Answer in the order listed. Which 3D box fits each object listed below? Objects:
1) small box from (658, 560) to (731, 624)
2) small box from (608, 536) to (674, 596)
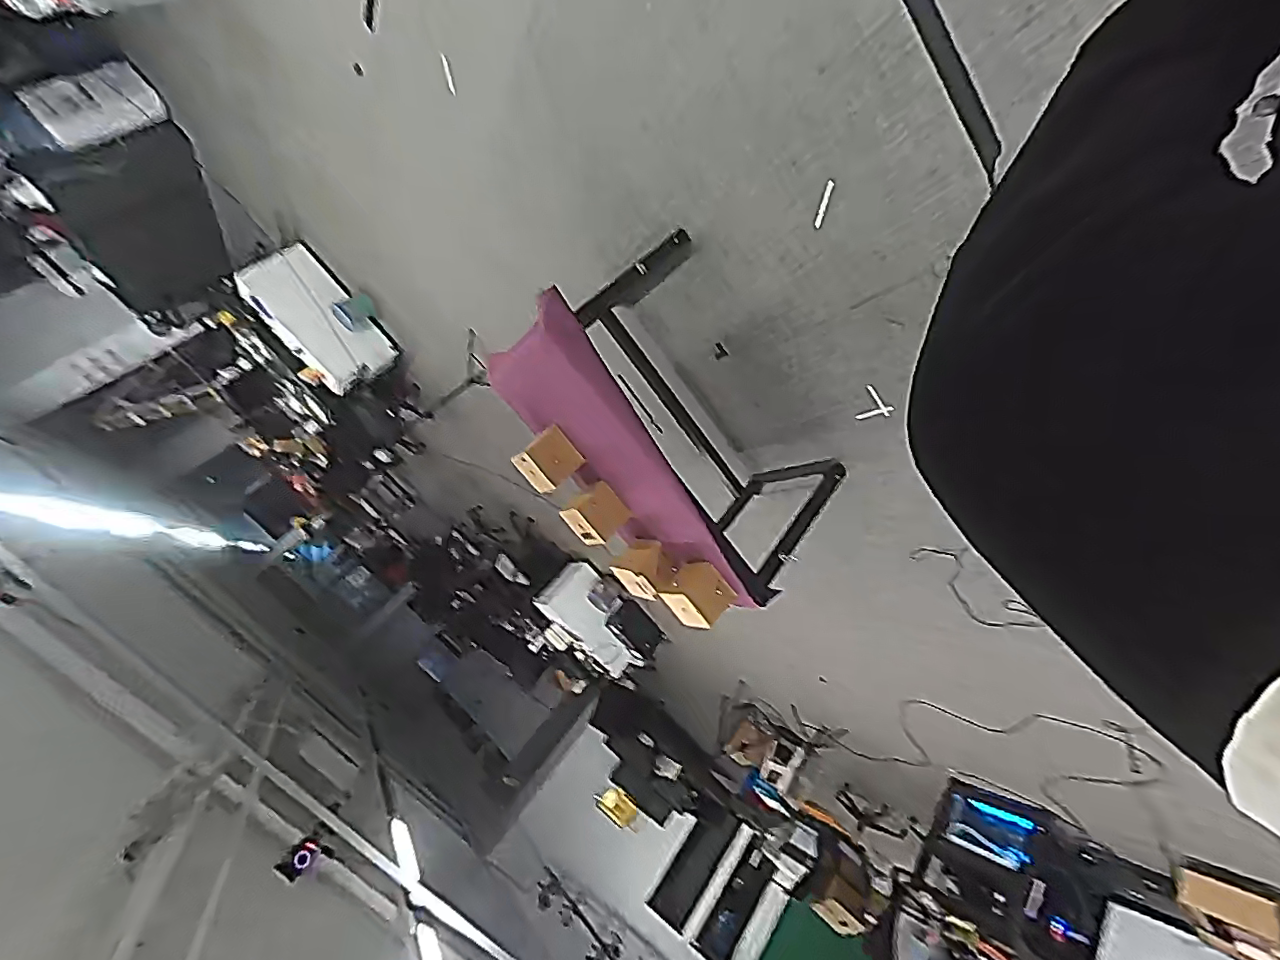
[{"bbox_3d":[0.204,0.410,2.001,0.168,0.176,0.179,51,152,-11],"label":"small box"},{"bbox_3d":[0.012,0.338,2.164,0.179,0.176,0.168,-3,127,55],"label":"small box"}]
